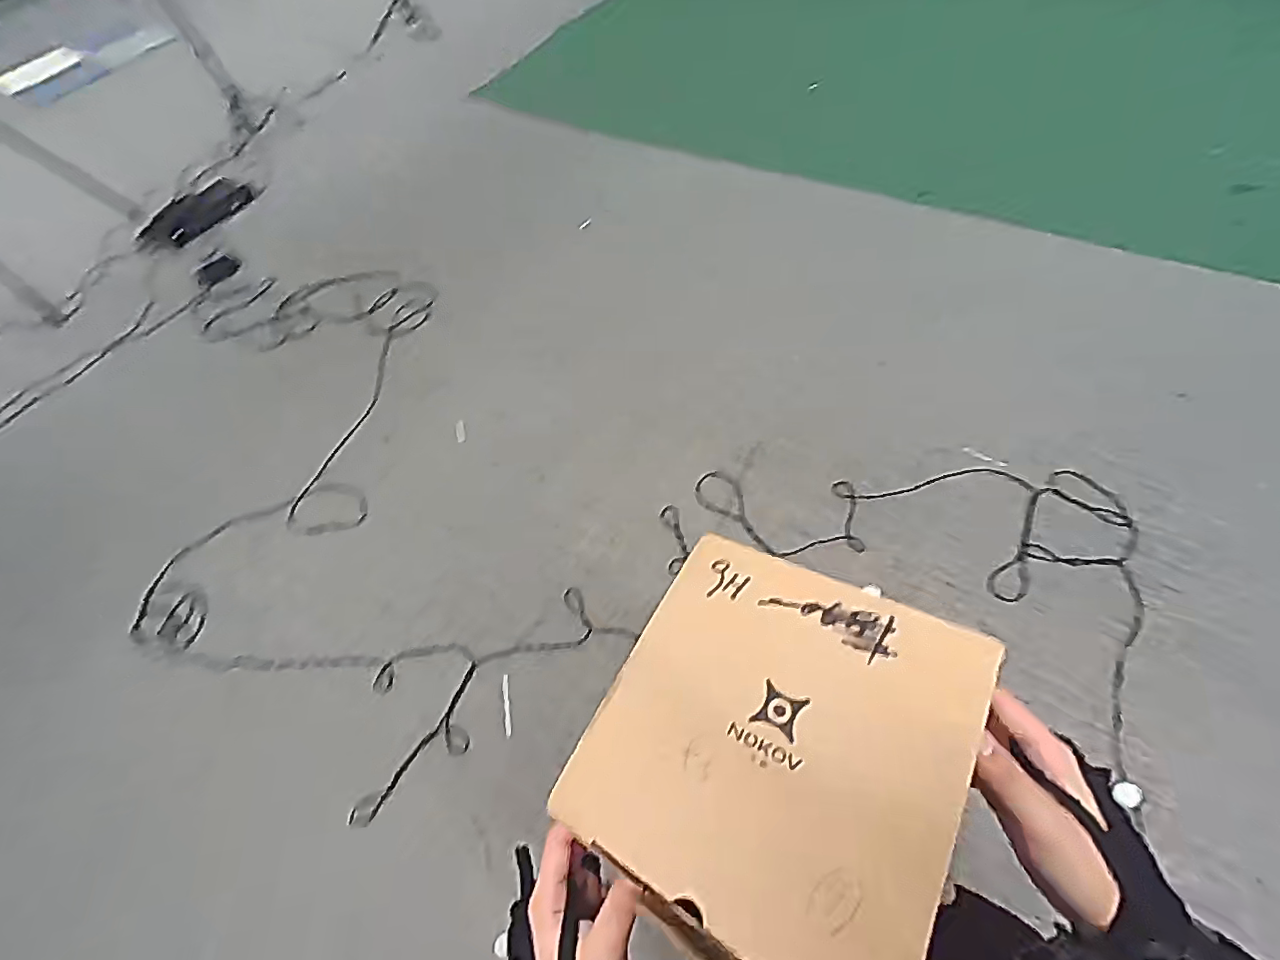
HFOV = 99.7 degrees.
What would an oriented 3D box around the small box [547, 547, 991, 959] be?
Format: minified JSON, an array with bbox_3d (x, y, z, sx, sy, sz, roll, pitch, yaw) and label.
[{"bbox_3d":[0.082,0.177,0.328,0.168,0.176,0.179,20,62,30],"label":"small box"}]
